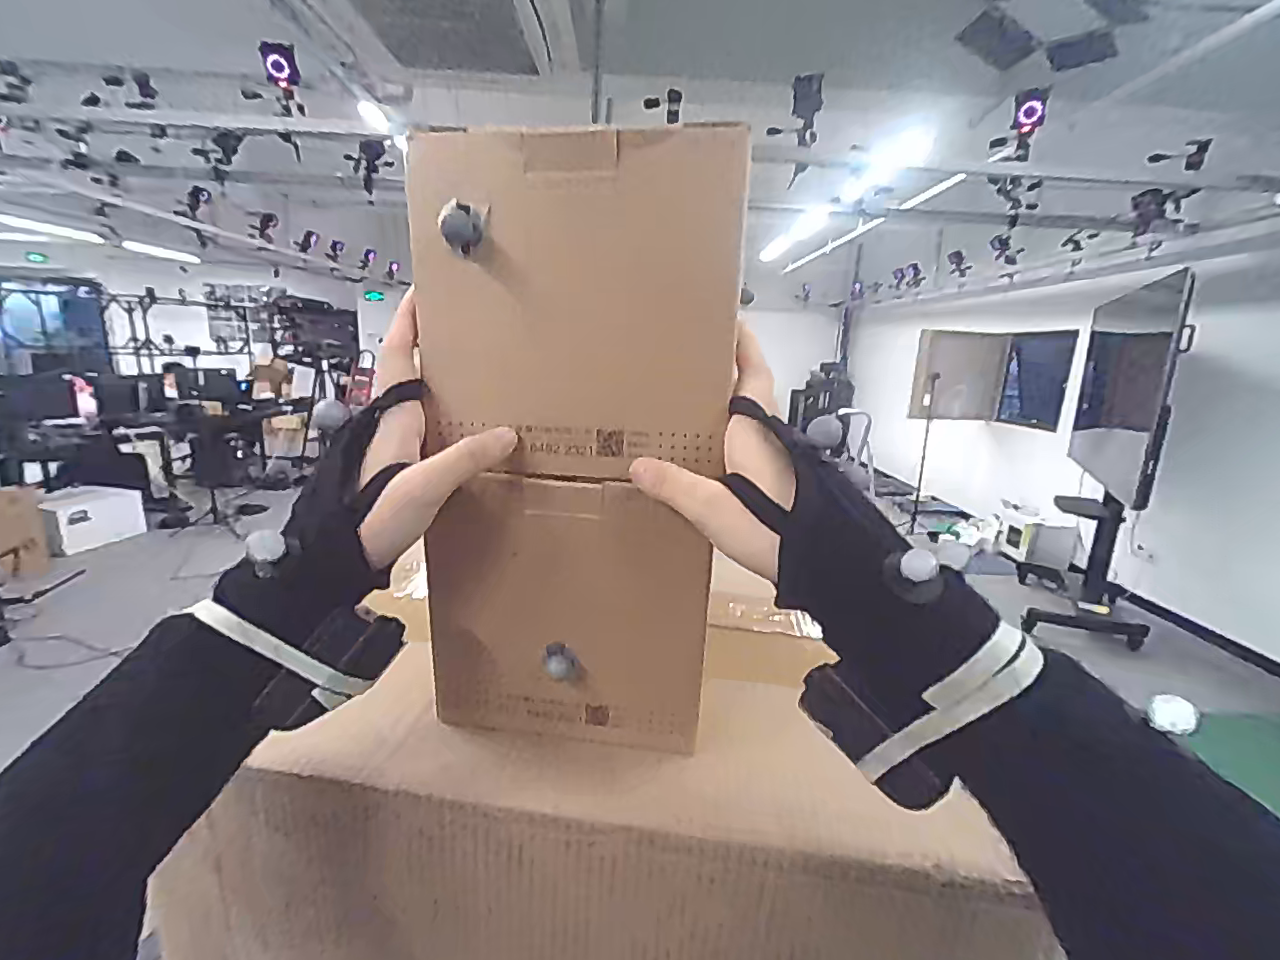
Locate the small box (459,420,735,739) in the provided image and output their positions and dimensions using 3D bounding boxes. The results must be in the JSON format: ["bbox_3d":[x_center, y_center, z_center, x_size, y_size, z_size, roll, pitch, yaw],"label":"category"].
[{"bbox_3d":[-0.021,0.056,0.406,0.168,0.176,0.179,4,16,6],"label":"small box"}]
